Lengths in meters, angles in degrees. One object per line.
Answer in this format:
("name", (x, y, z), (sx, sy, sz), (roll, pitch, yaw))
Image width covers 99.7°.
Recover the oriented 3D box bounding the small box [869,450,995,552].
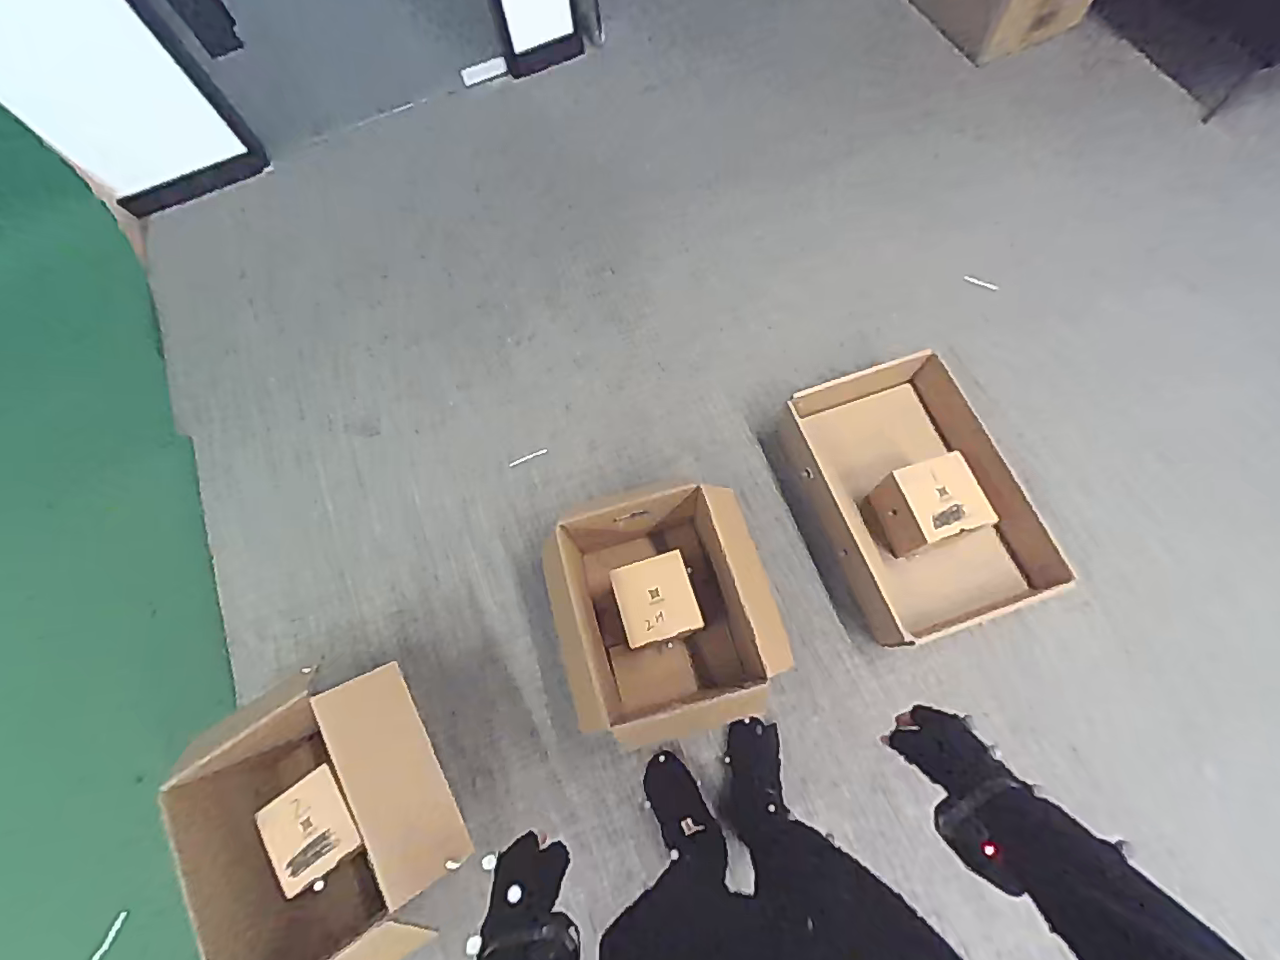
("small box", (0.665, 0.058, 1.254), (0.168, 0.176, 0.179), (-17, 69, -3))
